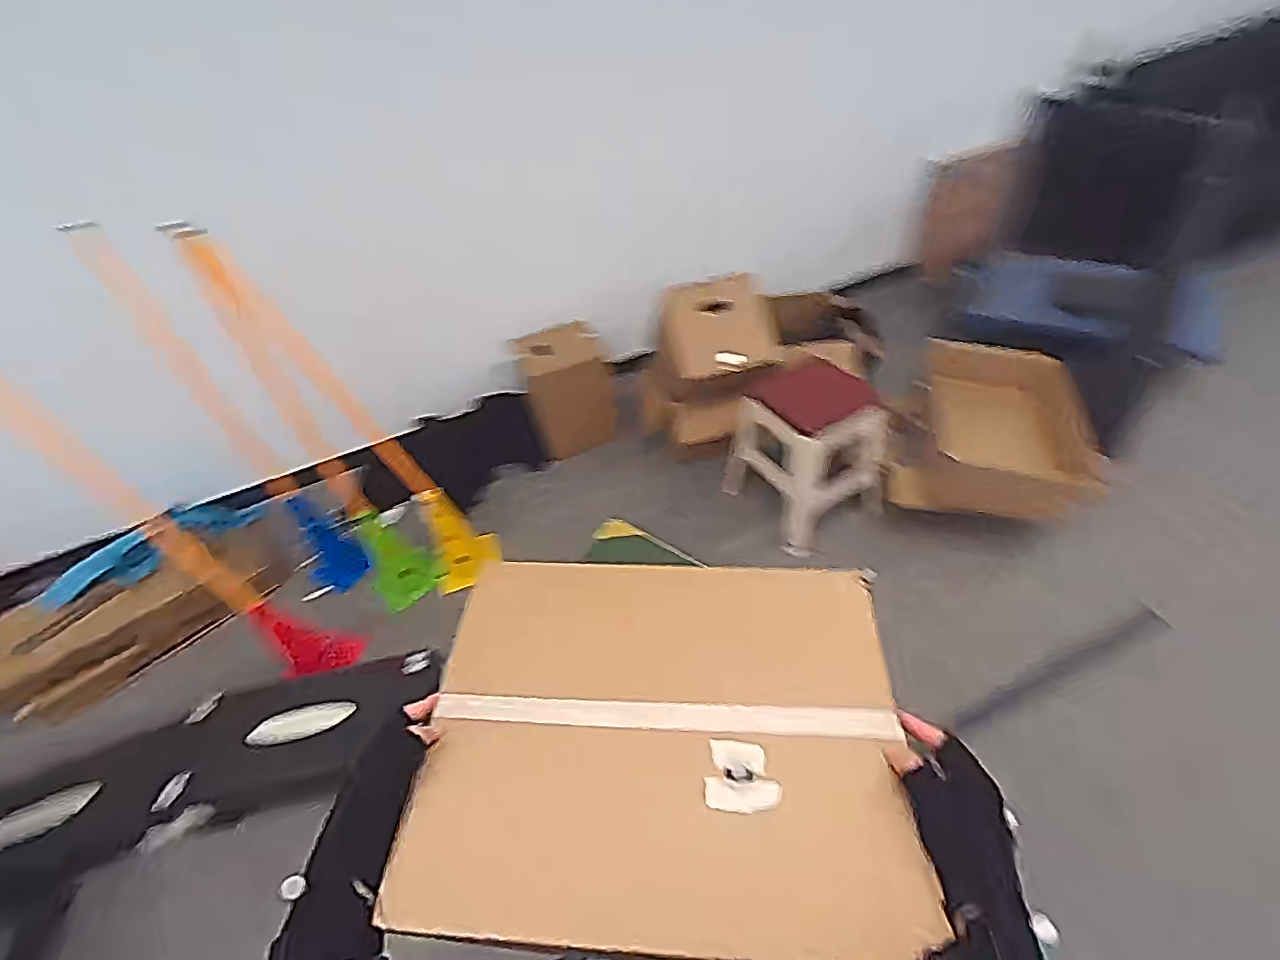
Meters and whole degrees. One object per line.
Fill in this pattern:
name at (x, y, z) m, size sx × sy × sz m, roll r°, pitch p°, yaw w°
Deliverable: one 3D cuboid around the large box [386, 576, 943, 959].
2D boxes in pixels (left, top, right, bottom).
large box at (0.026, 0.324, 0.586) m, size 0.408 × 0.320 × 0.320 m, roll 2°, pitch 48°, yaw 5°
